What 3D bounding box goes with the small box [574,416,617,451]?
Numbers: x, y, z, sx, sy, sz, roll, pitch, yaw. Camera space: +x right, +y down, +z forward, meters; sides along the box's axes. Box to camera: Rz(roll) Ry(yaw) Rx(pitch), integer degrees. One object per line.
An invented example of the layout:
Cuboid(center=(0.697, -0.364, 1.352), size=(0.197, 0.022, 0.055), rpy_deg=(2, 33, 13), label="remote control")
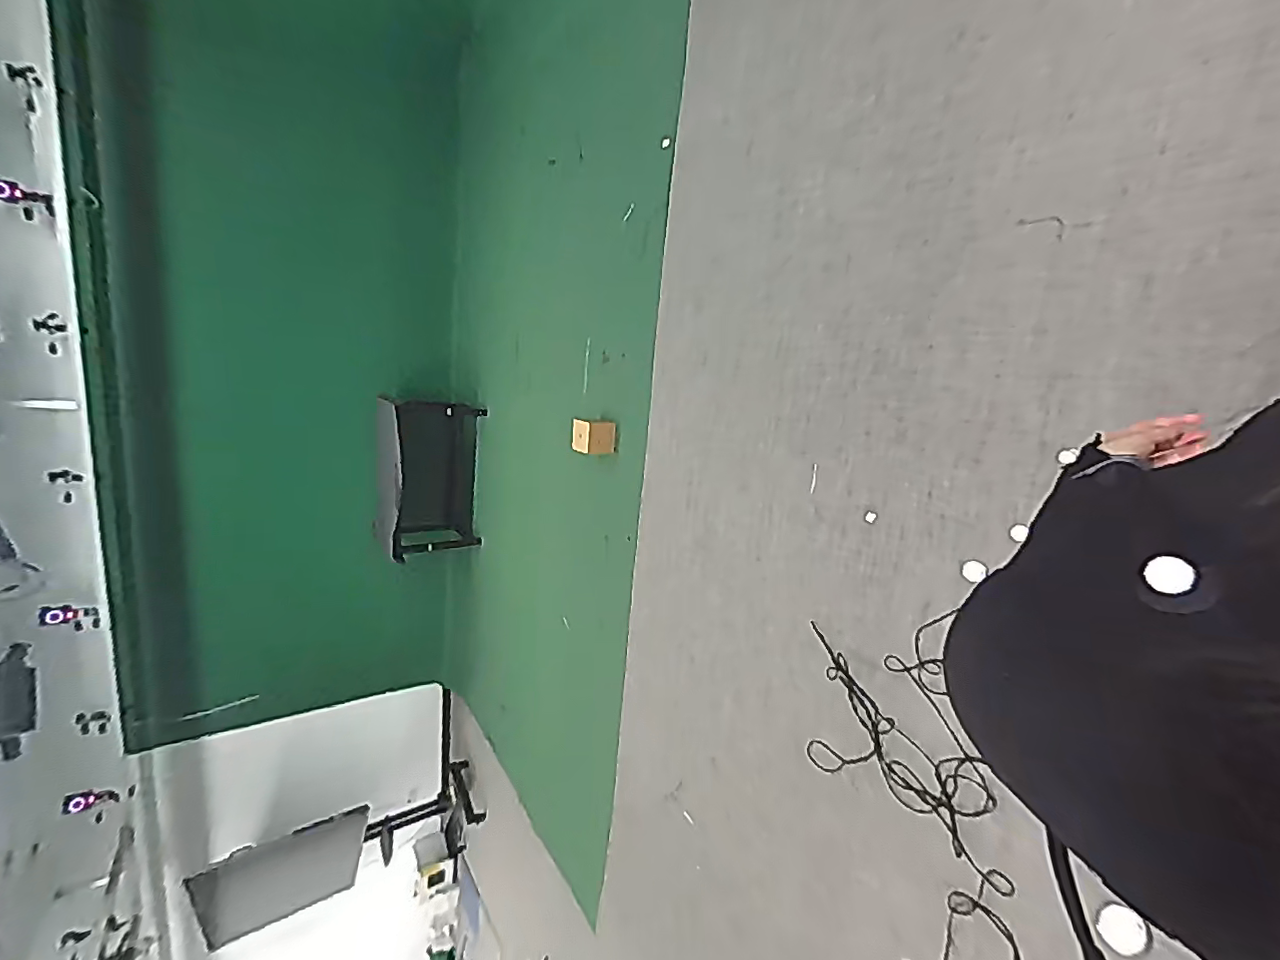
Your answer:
Cuboid(center=(-0.239, -0.256, 2.915), size=(0.179, 0.176, 0.168), rpy_deg=(20, 110, 54), label="small box")
